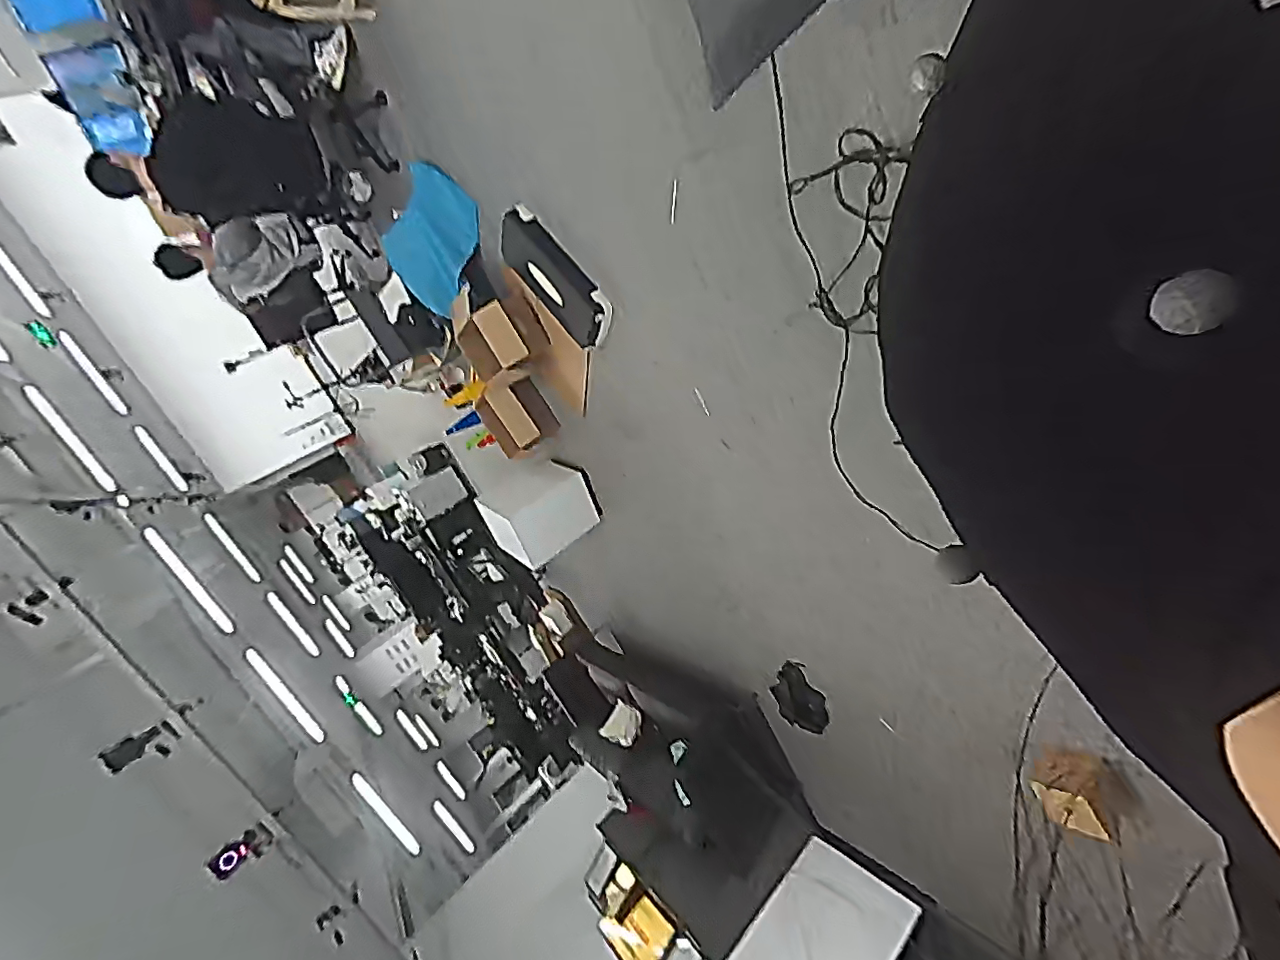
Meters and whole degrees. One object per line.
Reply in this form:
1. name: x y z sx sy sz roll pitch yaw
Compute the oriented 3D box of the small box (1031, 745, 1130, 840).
1. small box: 1.409 0.988 1.729 0.179 0.176 0.168 55 154 -4
